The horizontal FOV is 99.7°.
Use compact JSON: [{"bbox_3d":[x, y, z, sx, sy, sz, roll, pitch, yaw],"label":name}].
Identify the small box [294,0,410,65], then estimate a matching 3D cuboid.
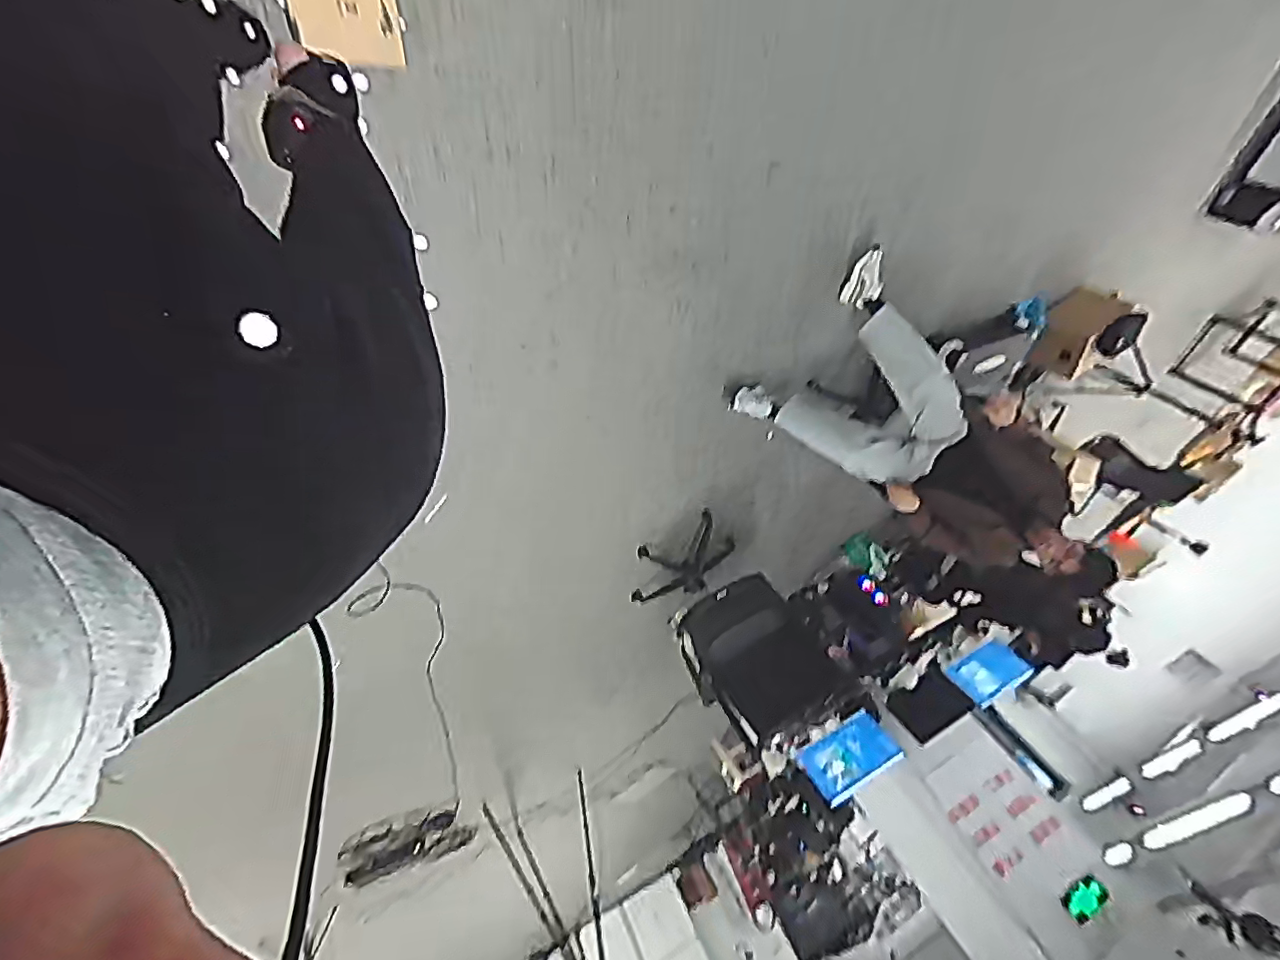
[{"bbox_3d":[-0.547,-0.891,1.009,0.179,0.176,0.168,-15,135,-23],"label":"small box"}]
